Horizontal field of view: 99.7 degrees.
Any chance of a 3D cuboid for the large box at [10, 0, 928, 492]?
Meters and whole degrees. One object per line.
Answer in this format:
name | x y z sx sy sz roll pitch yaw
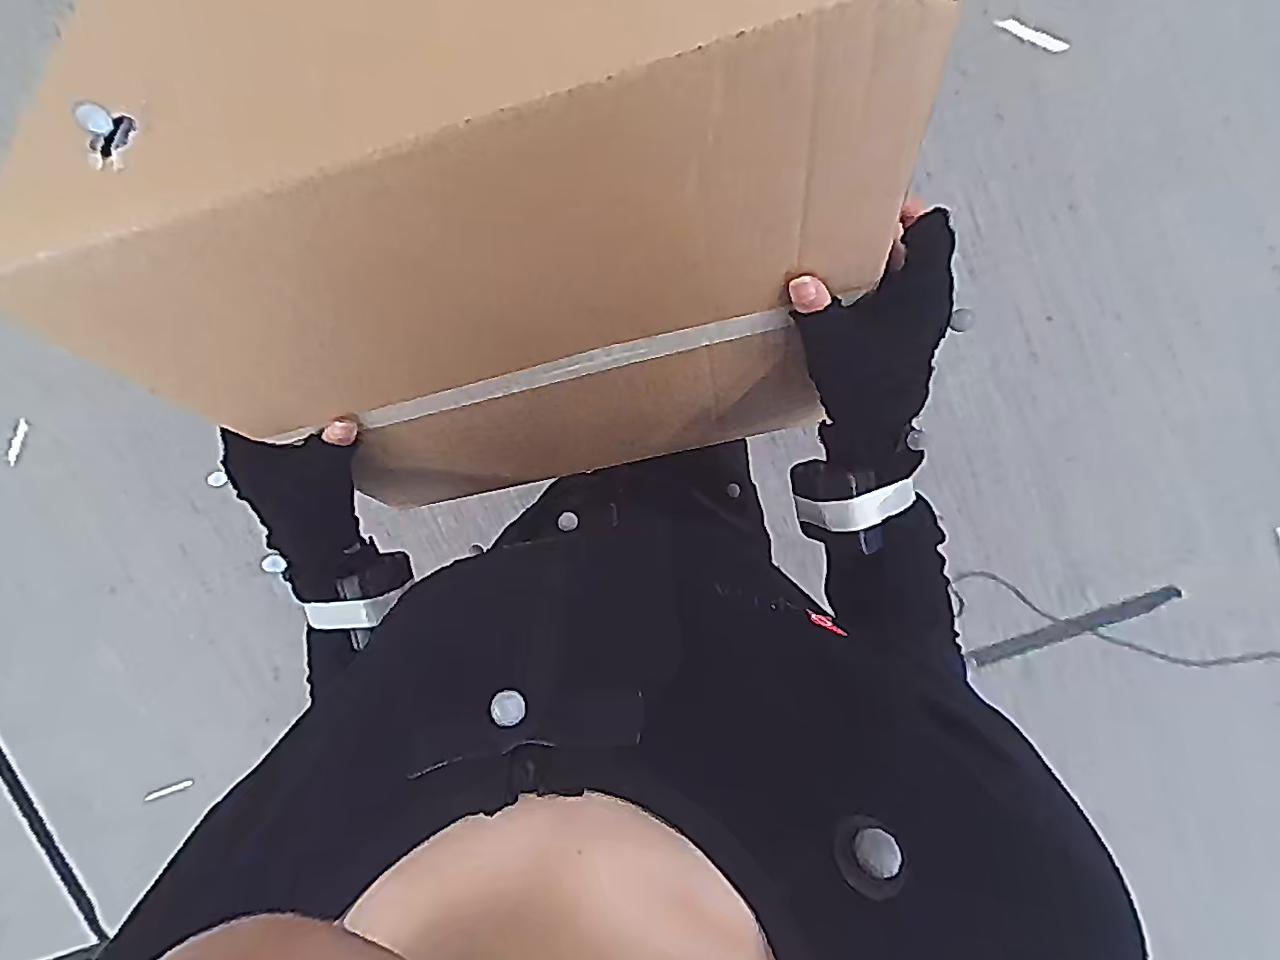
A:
large box | -0.081 -0.220 0.403 0.408 0.320 0.320 -12 68 8
